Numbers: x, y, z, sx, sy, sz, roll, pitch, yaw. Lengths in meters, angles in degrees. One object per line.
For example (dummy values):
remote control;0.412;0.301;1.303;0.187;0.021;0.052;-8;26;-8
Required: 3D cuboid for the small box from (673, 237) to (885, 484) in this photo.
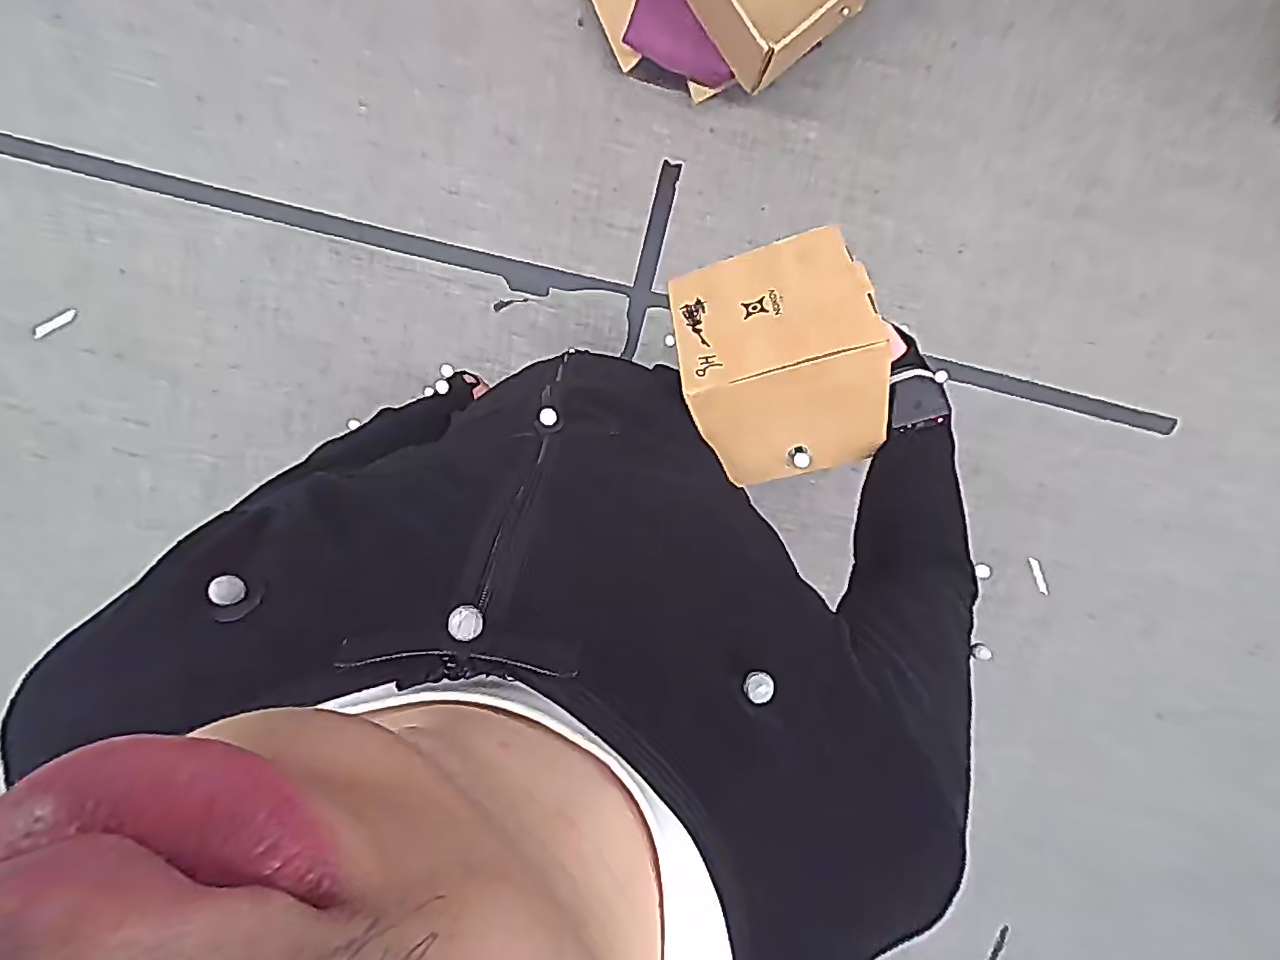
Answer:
small box;0.146;-0.119;0.584;0.179;0.168;0.176;-14;144;13
